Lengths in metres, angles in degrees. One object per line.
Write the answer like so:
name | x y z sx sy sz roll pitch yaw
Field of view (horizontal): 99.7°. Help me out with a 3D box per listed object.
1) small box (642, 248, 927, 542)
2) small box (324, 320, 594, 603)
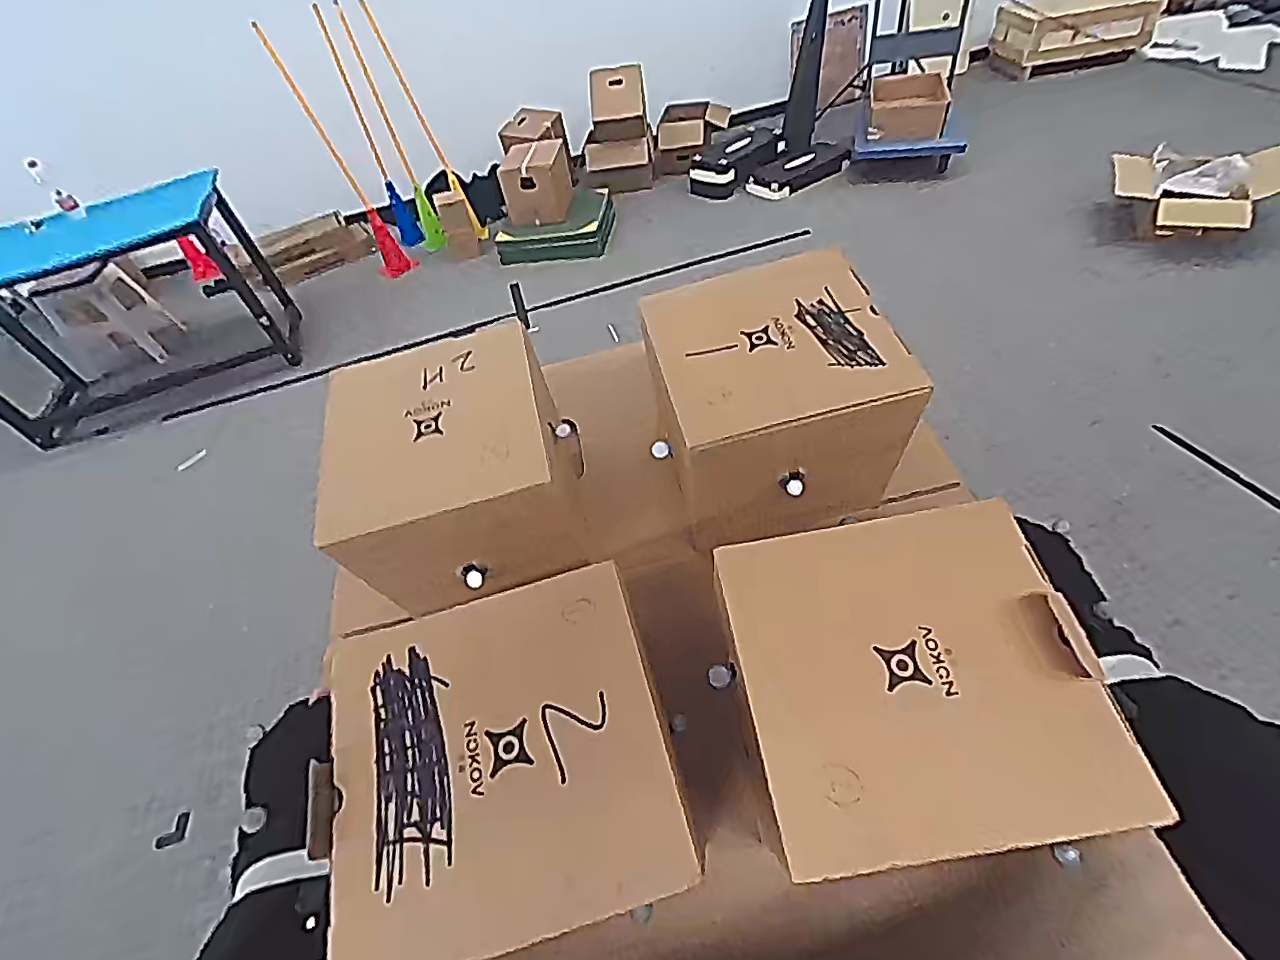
small box | 0.110 -0.066 0.480 0.179 0.176 0.168 -14 57 1
small box | -0.146 -0.005 0.482 0.168 0.176 0.179 -15 56 -1
